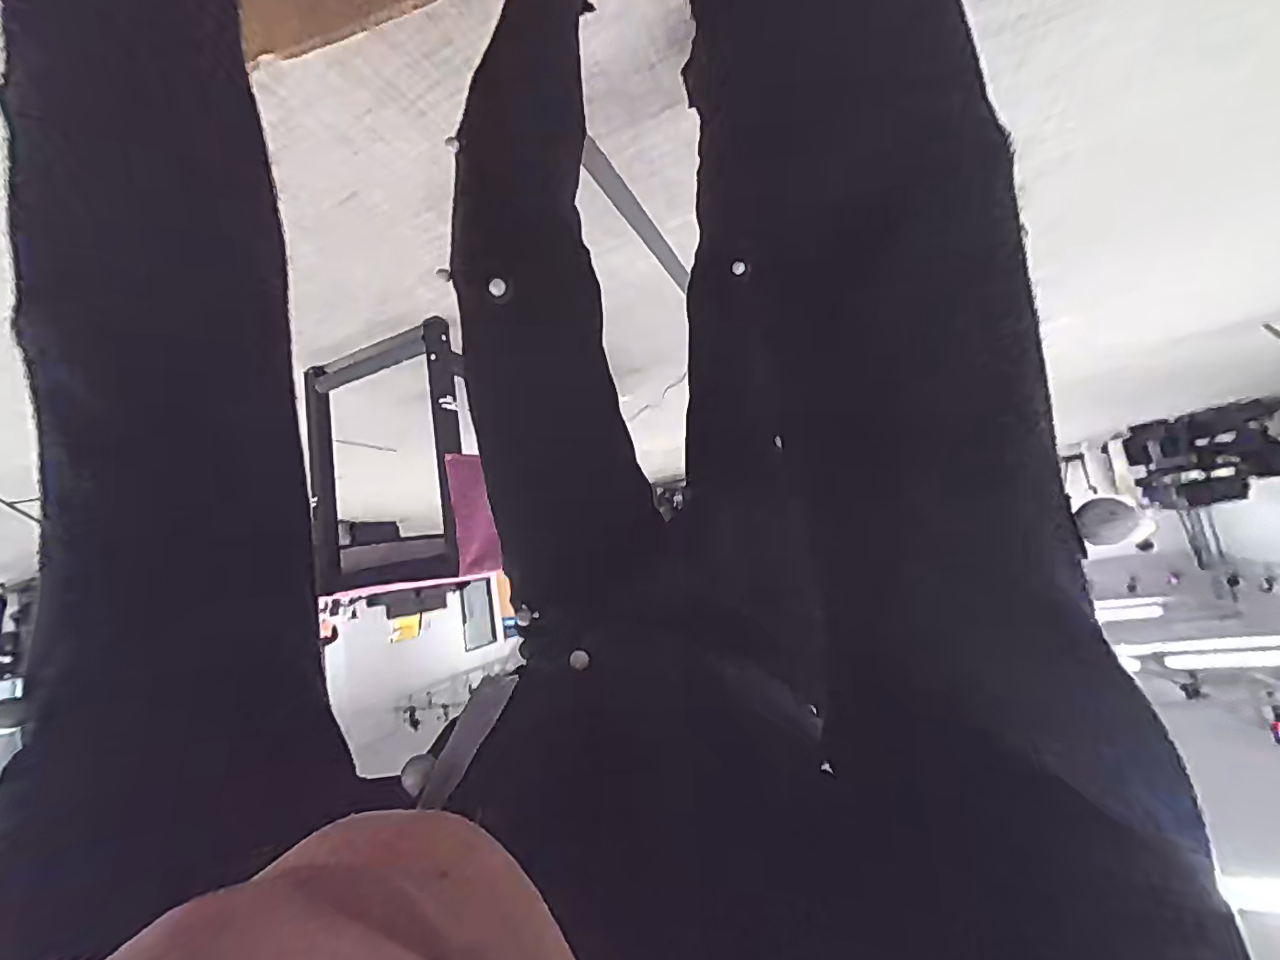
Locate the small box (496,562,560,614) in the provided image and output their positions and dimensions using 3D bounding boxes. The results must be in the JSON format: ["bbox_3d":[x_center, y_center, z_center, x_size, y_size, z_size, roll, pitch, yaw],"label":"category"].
[{"bbox_3d":[-0.430,0.406,2.068,0.179,0.176,0.168,-12,171,25],"label":"small box"}]
